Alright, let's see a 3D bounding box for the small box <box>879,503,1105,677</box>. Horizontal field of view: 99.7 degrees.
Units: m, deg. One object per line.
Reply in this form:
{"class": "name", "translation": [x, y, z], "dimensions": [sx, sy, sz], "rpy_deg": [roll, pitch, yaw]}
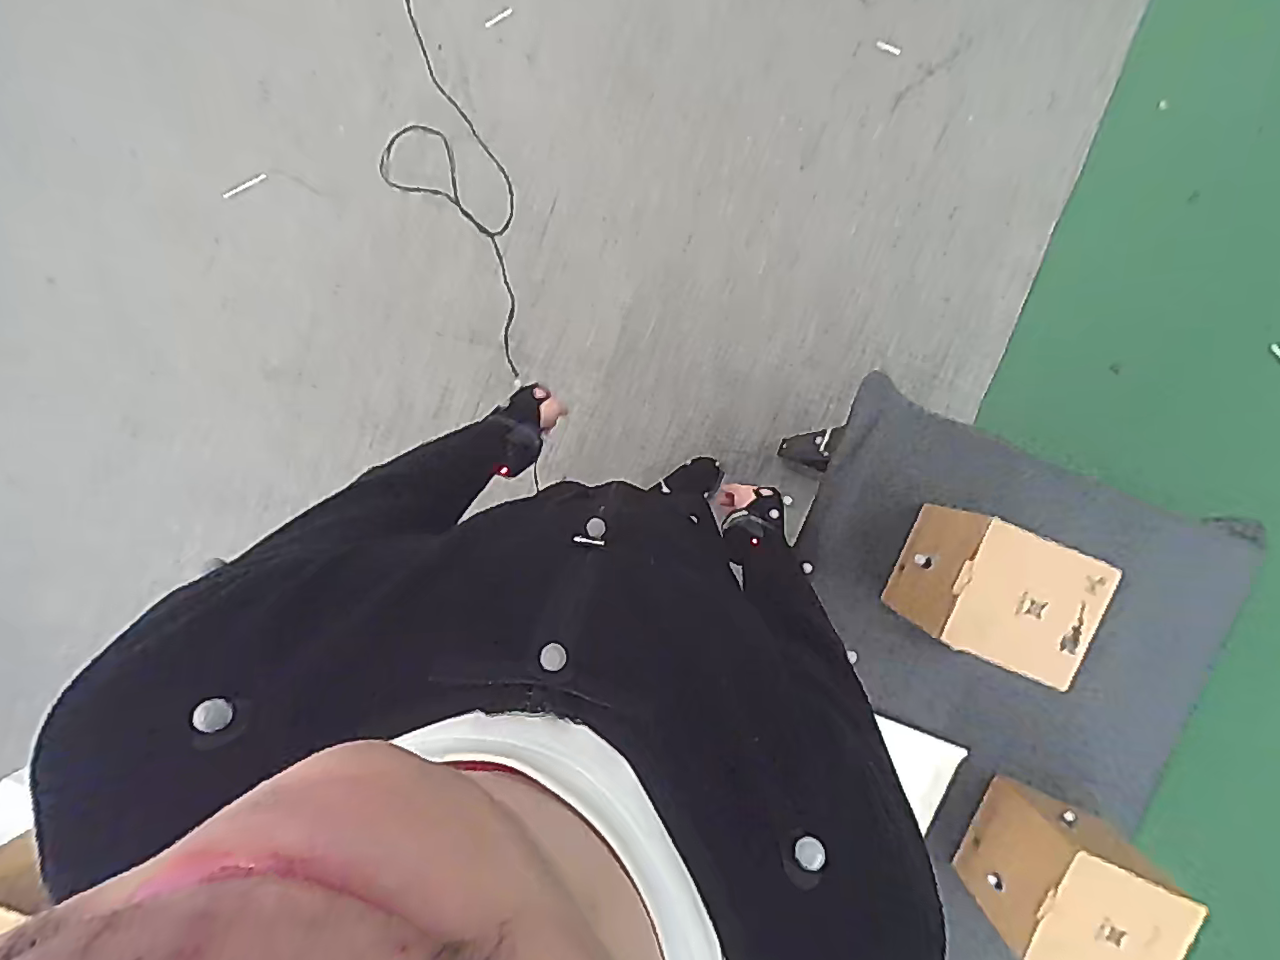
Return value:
{"class": "small box", "translation": [0.468, 0.138, 0.754], "dimensions": [0.179, 0.176, 0.168], "rpy_deg": [22, 94, 0]}

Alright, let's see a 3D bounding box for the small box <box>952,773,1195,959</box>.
{"class": "small box", "translation": [0.584, 0.551, 0.759], "dimensions": [0.179, 0.176, 0.168], "rpy_deg": [23, 95, 0]}
